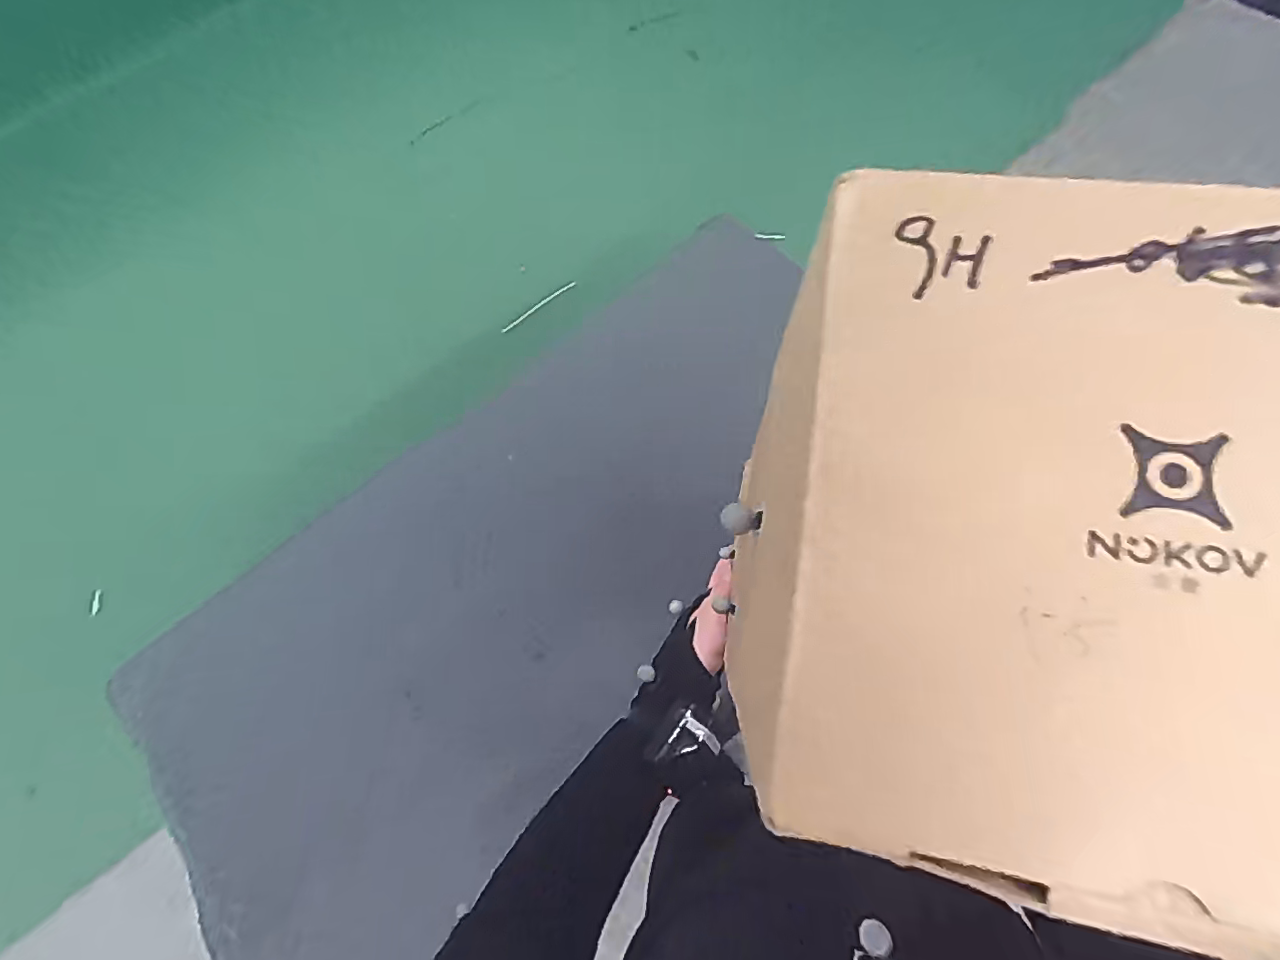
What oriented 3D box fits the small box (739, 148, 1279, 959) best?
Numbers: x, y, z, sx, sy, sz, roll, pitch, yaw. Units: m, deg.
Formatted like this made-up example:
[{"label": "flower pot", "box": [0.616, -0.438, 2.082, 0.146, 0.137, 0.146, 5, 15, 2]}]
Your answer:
[{"label": "small box", "box": [0.132, 0.021, 0.200, 0.168, 0.176, 0.179, 9, 82, 8]}]
